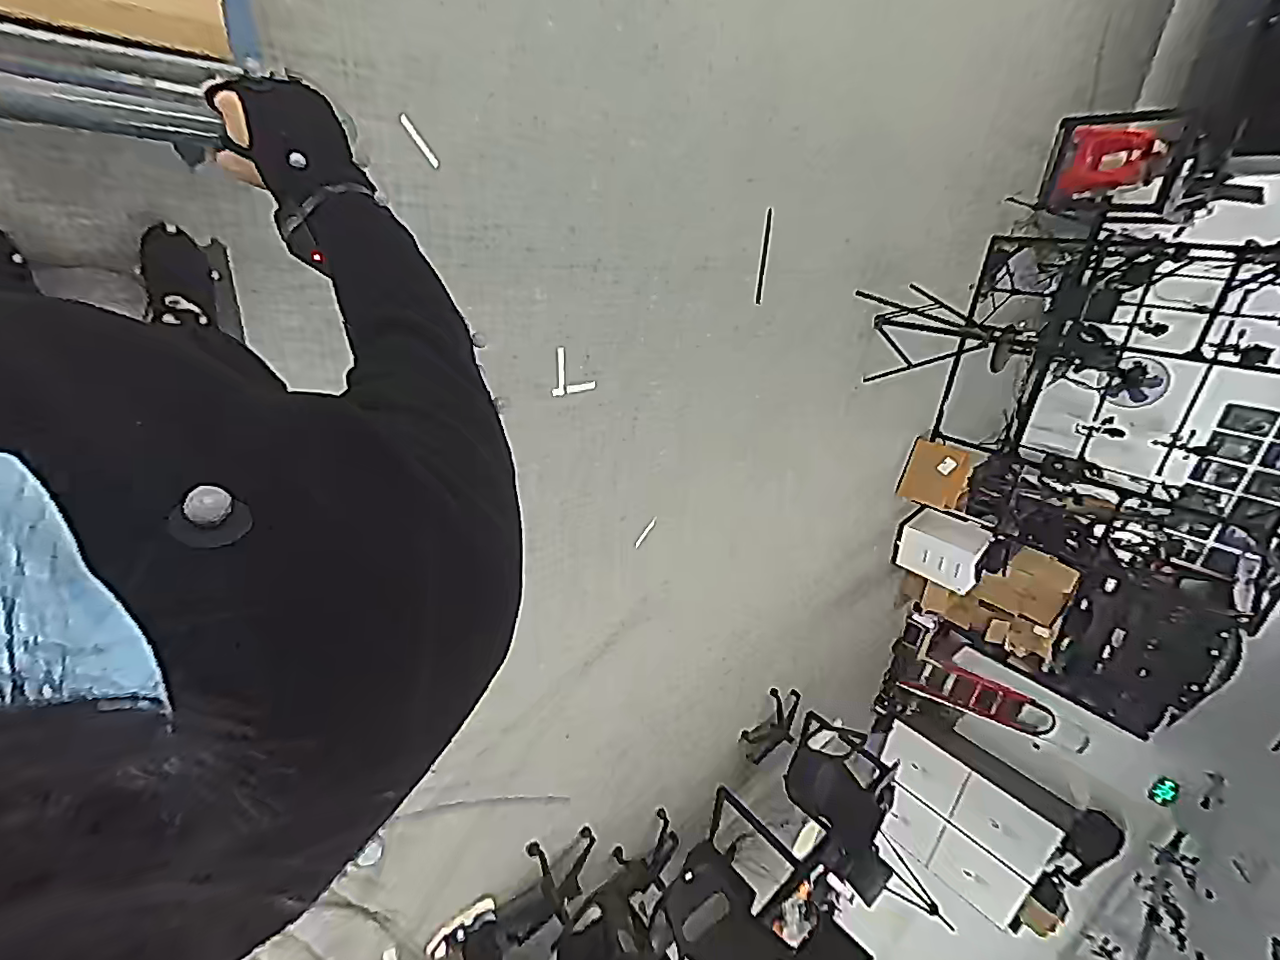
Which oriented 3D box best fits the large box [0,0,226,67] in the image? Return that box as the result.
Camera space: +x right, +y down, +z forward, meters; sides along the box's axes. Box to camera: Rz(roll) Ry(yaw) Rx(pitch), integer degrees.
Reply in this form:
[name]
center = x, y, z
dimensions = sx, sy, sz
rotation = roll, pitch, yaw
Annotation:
[large box]
center = -0.781, -0.716, 0.620
dimensions = 0.408, 0.320, 0.320
rotation = -17, 127, -40
